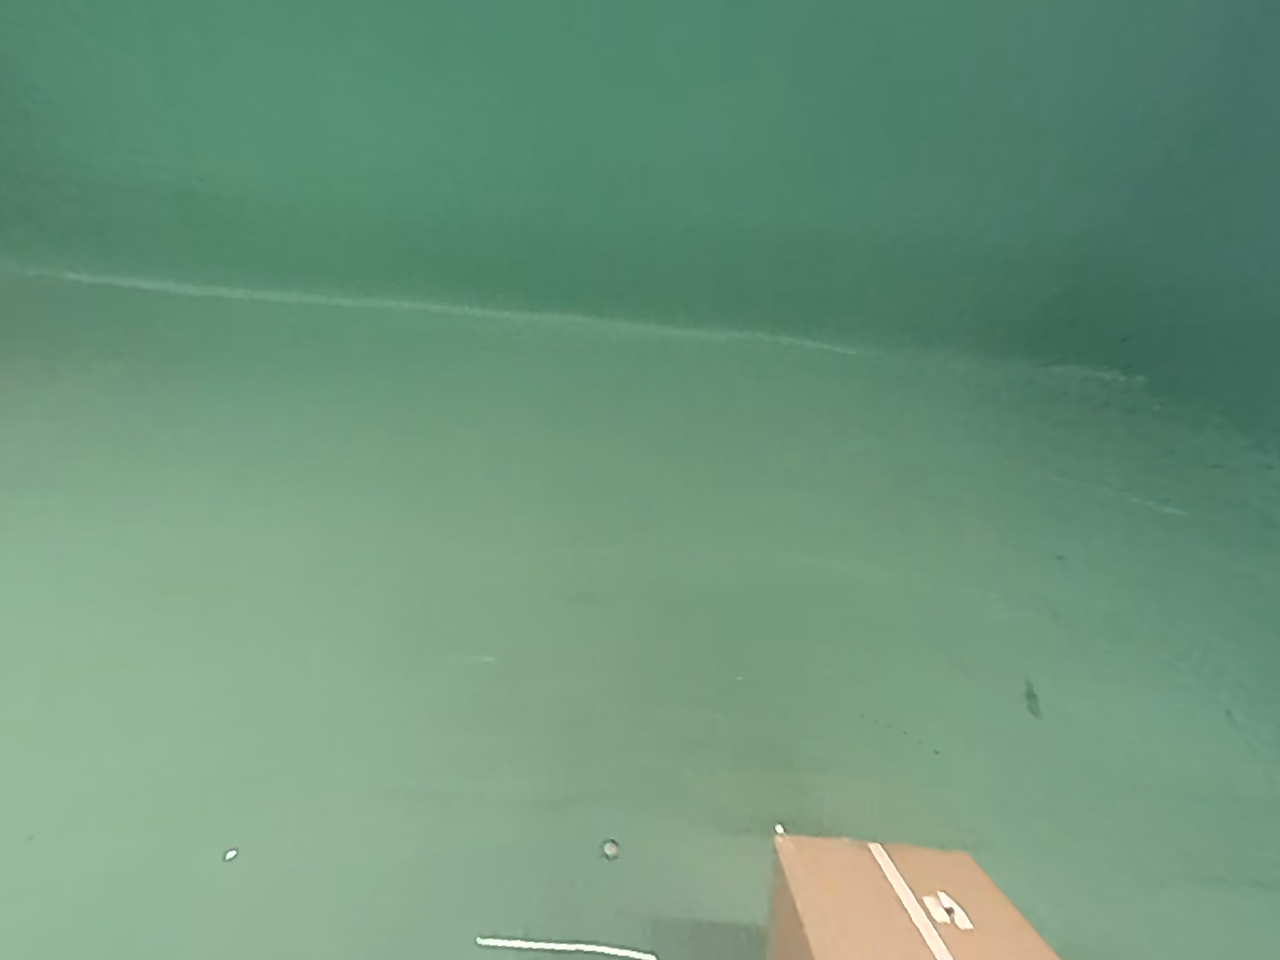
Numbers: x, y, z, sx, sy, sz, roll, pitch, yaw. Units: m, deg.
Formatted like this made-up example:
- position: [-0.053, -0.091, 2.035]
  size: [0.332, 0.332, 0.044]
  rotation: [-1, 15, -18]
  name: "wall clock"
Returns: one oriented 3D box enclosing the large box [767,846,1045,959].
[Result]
- position: [0.352, 0.745, 0.665]
  size: [0.320, 0.408, 0.320]
  rotation: [6, 88, 2]
  name: "large box"
